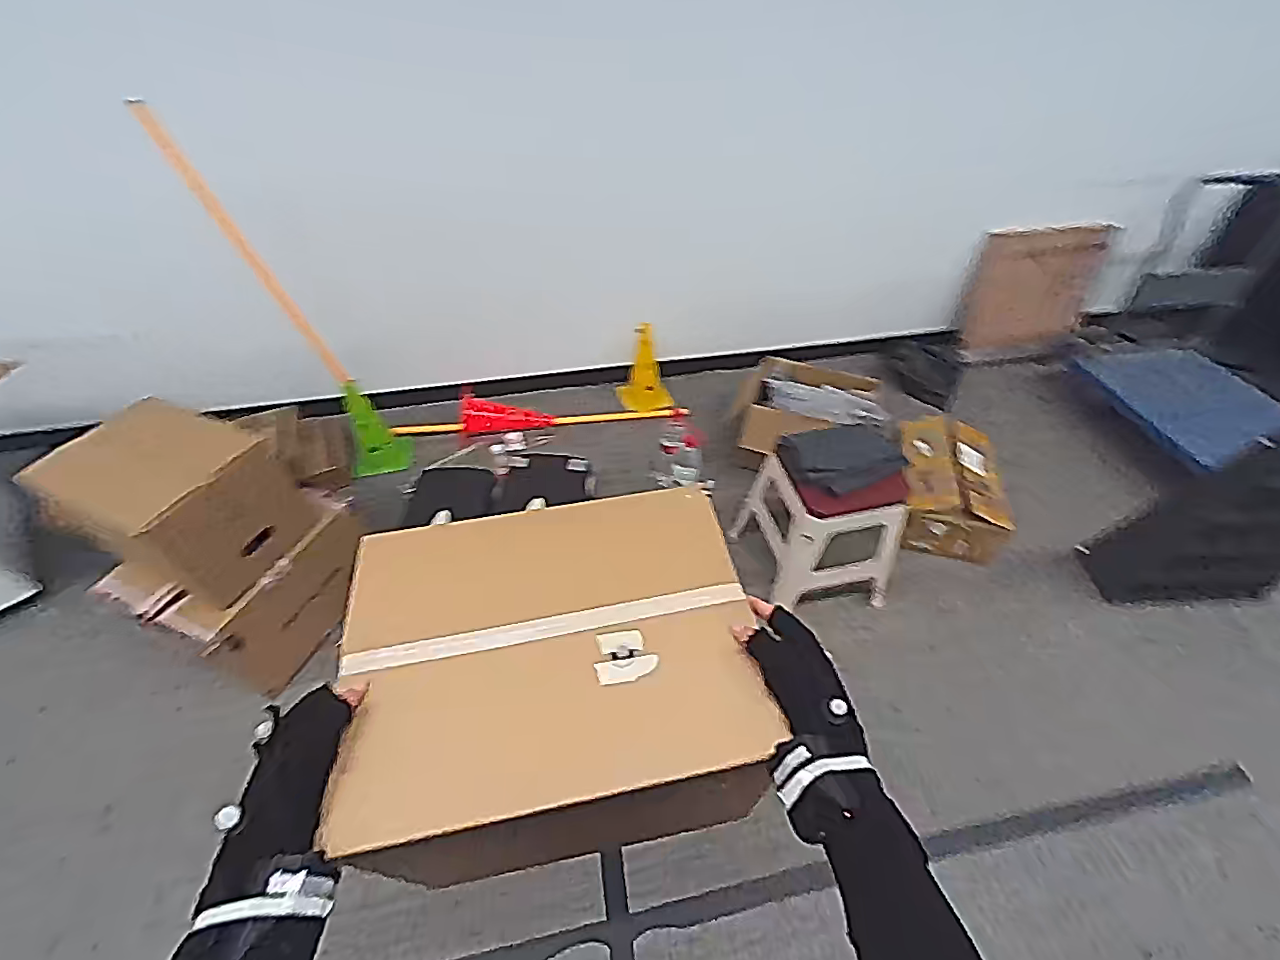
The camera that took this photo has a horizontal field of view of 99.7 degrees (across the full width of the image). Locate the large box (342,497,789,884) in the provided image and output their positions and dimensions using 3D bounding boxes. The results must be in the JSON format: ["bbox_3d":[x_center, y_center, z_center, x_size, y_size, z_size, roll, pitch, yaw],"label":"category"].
[{"bbox_3d":[-0.085,0.260,0.678,0.408,0.320,0.320,-8,50,-7],"label":"large box"}]
